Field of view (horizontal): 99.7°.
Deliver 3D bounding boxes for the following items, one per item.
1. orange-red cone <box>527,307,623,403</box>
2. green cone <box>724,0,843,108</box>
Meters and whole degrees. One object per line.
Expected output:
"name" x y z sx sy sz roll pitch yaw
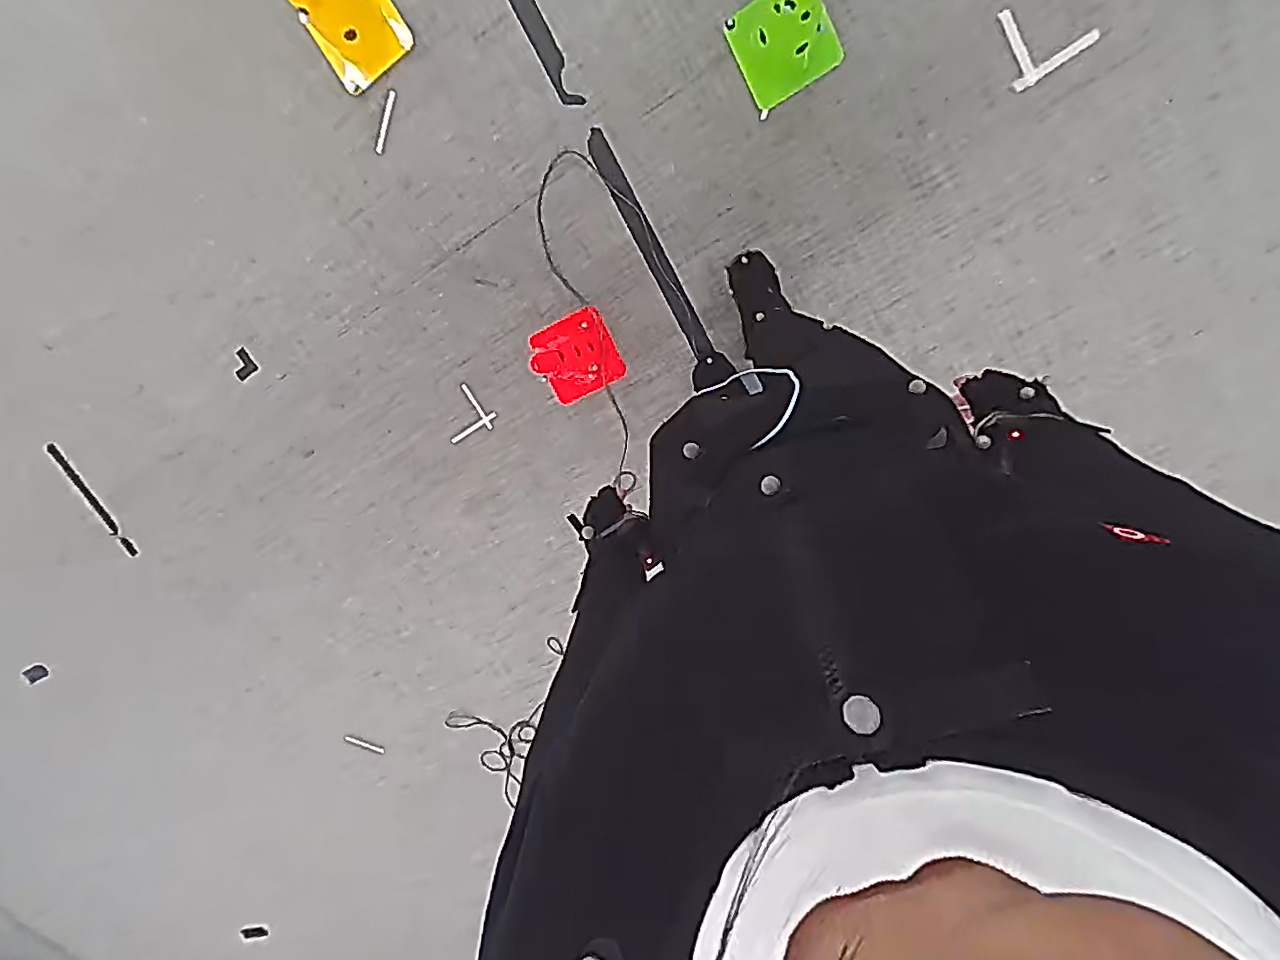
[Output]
"orange-red cone" -0.183 -0.273 1.221 0.199 0.360 0.198 -23 101 13
"green cone" 0.291 -0.895 0.993 0.202 0.368 0.200 -28 101 12
